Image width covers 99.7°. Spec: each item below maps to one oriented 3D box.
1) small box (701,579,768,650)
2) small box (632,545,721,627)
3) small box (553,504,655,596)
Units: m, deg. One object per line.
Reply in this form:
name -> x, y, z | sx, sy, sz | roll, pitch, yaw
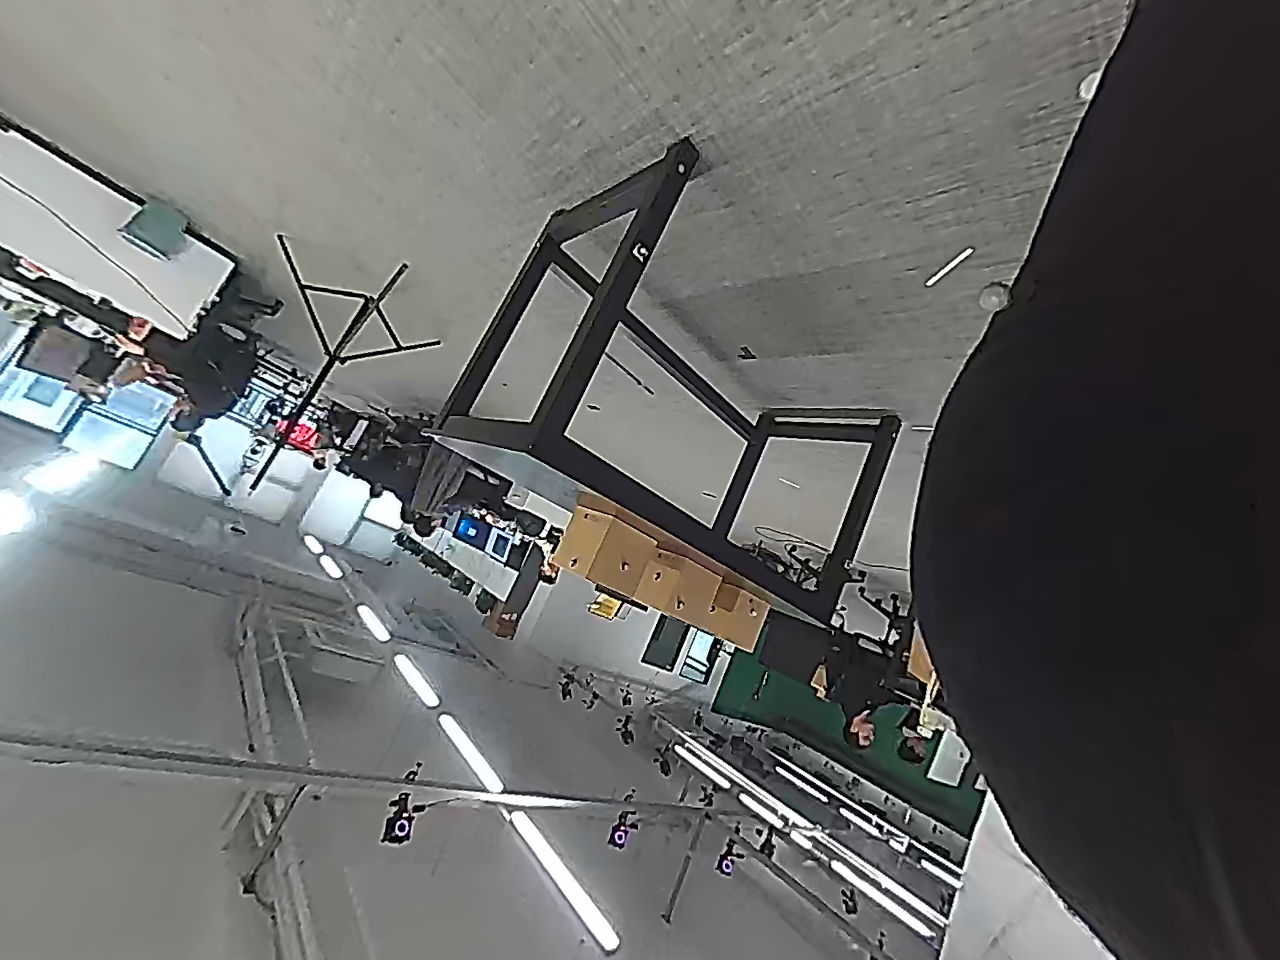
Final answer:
small box -> 0.286, 0.424, 1.760 | 0.168, 0.176, 0.179 | 32, 166, -35
small box -> 0.106, 0.309, 1.600 | 0.179, 0.176, 0.168 | 33, 167, -37
small box -> -0.090, 0.180, 1.424 | 0.179, 0.176, 0.168 | 32, 167, -39
